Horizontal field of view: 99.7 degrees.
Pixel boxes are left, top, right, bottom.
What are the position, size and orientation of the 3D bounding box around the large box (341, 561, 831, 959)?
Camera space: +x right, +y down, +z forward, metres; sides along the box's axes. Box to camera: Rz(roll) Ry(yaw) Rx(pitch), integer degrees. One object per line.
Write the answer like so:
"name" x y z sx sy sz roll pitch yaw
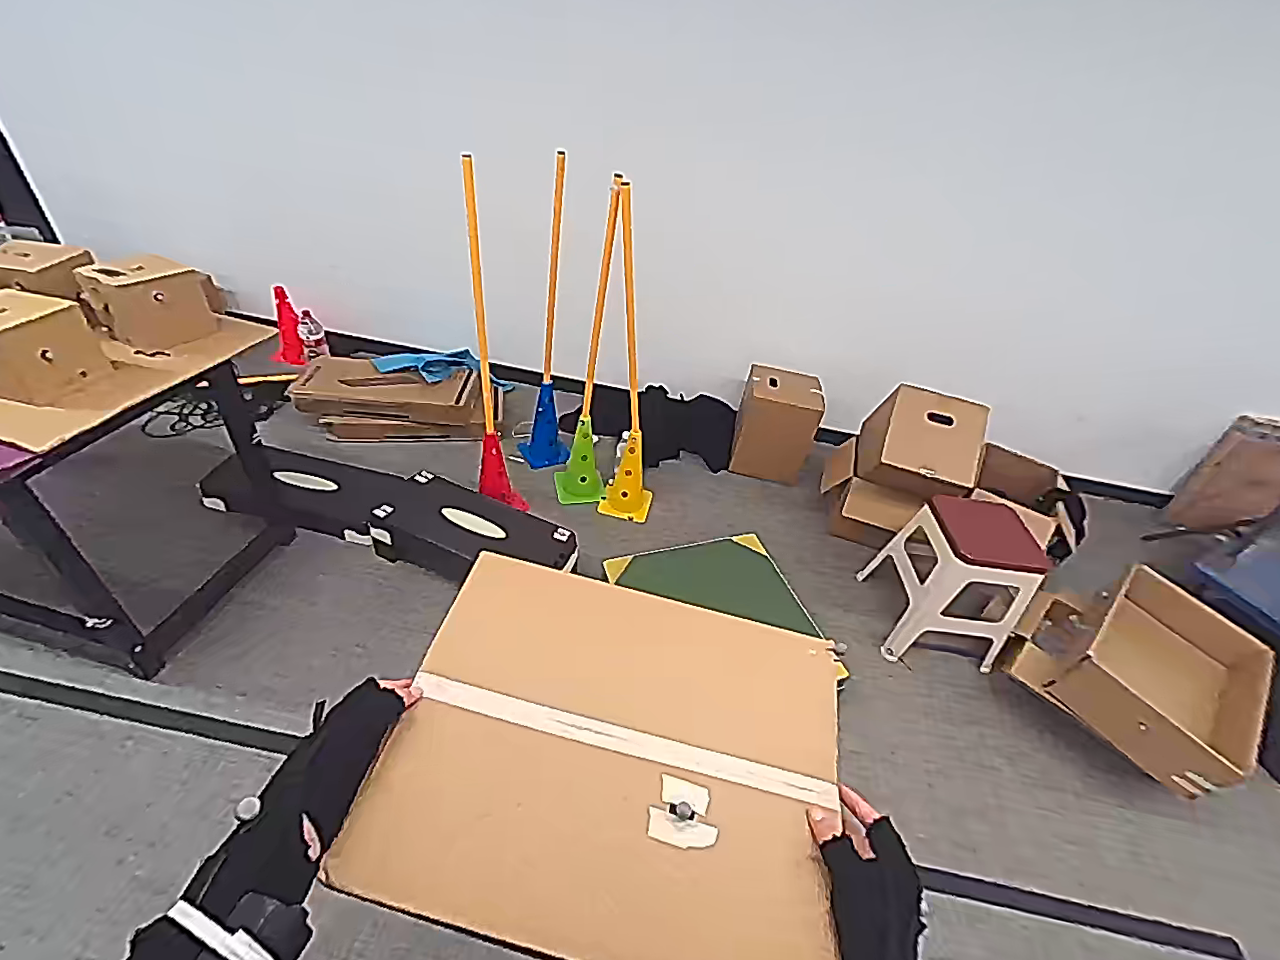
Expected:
"large box" -0.035 0.345 0.627 0.408 0.320 0.320 14 48 4
